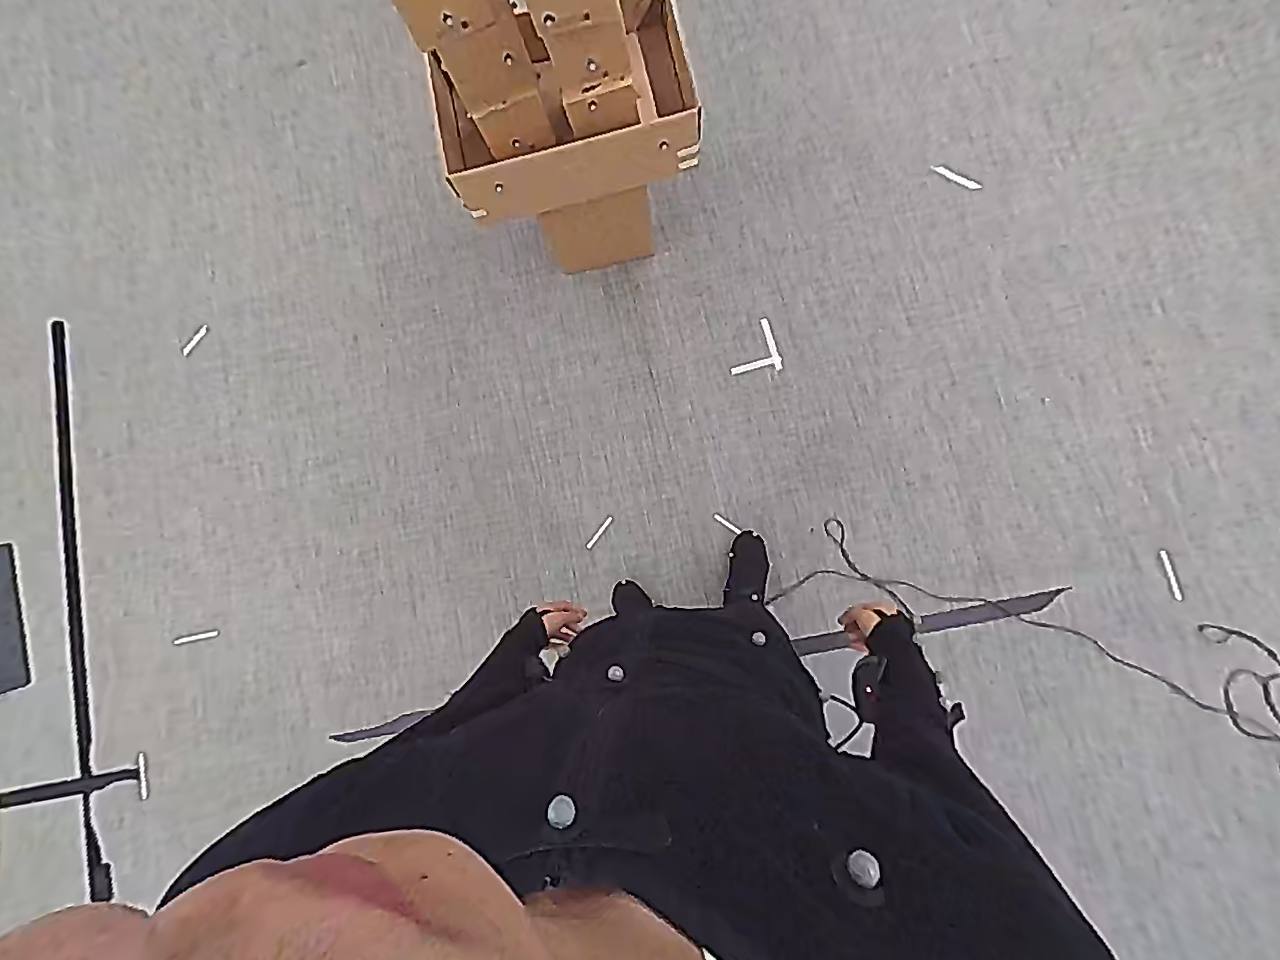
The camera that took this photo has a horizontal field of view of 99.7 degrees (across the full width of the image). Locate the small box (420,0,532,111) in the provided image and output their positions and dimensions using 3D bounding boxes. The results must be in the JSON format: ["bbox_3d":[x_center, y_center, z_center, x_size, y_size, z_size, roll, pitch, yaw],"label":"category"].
[{"bbox_3d":[-0.345,-0.953,1.166,0.179,0.176,0.168,-21,81,2],"label":"small box"}]

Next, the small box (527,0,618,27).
[{"bbox_3d":[-0.138,-0.969,0.977,0.168,0.176,0.179,-6,82,8],"label":"small box"}]

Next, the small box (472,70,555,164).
[{"bbox_3d":[-0.325,-0.926,1.325,0.168,0.176,0.179,-21,82,3],"label":"small box"}]
